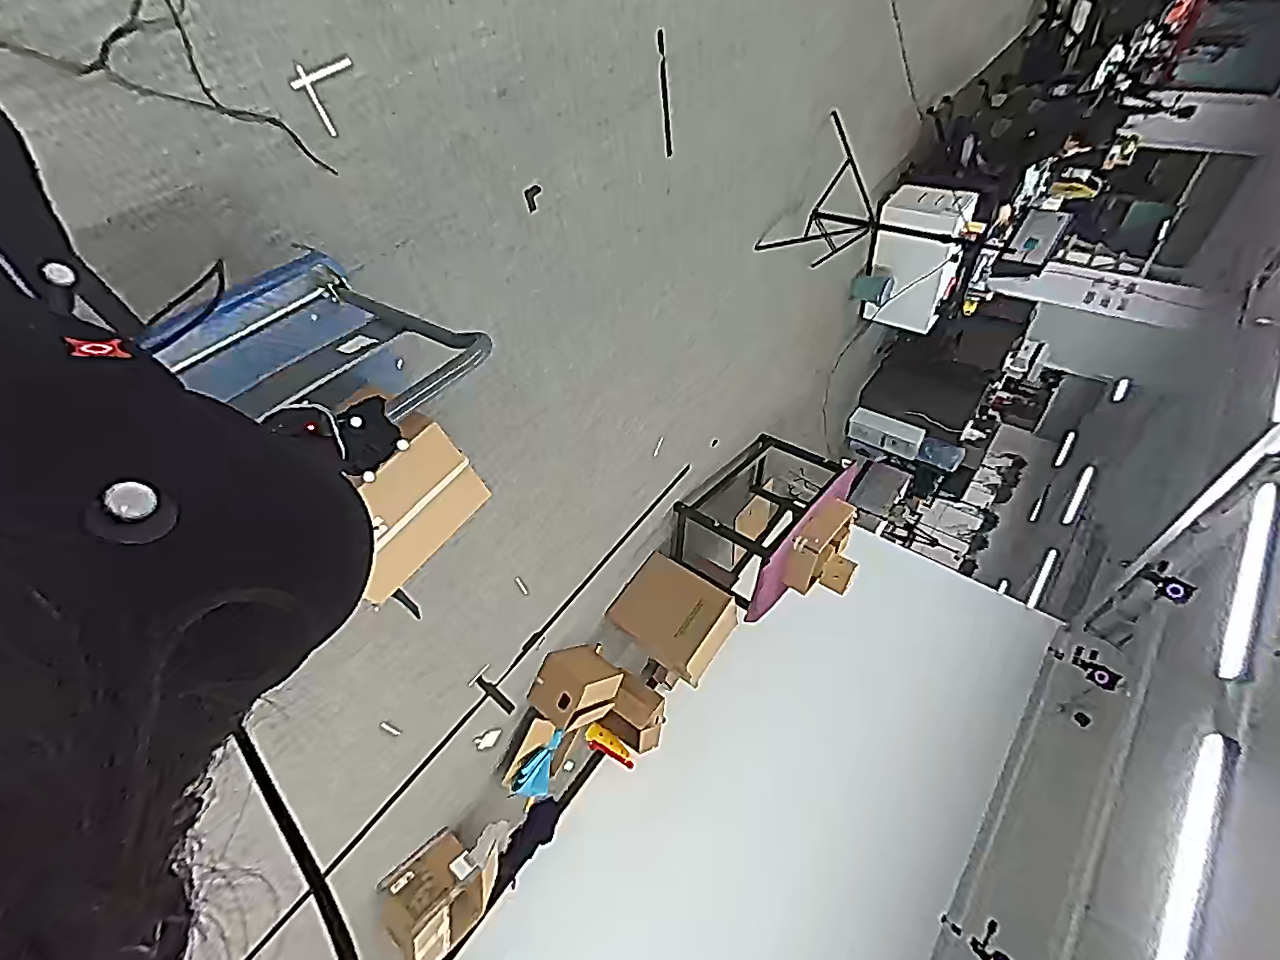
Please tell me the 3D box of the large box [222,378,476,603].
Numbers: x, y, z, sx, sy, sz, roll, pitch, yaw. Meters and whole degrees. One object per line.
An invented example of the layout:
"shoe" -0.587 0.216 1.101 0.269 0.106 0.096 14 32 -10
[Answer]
"large box" -0.708 0.018 1.362 0.408 0.320 0.320 -48 147 -21
